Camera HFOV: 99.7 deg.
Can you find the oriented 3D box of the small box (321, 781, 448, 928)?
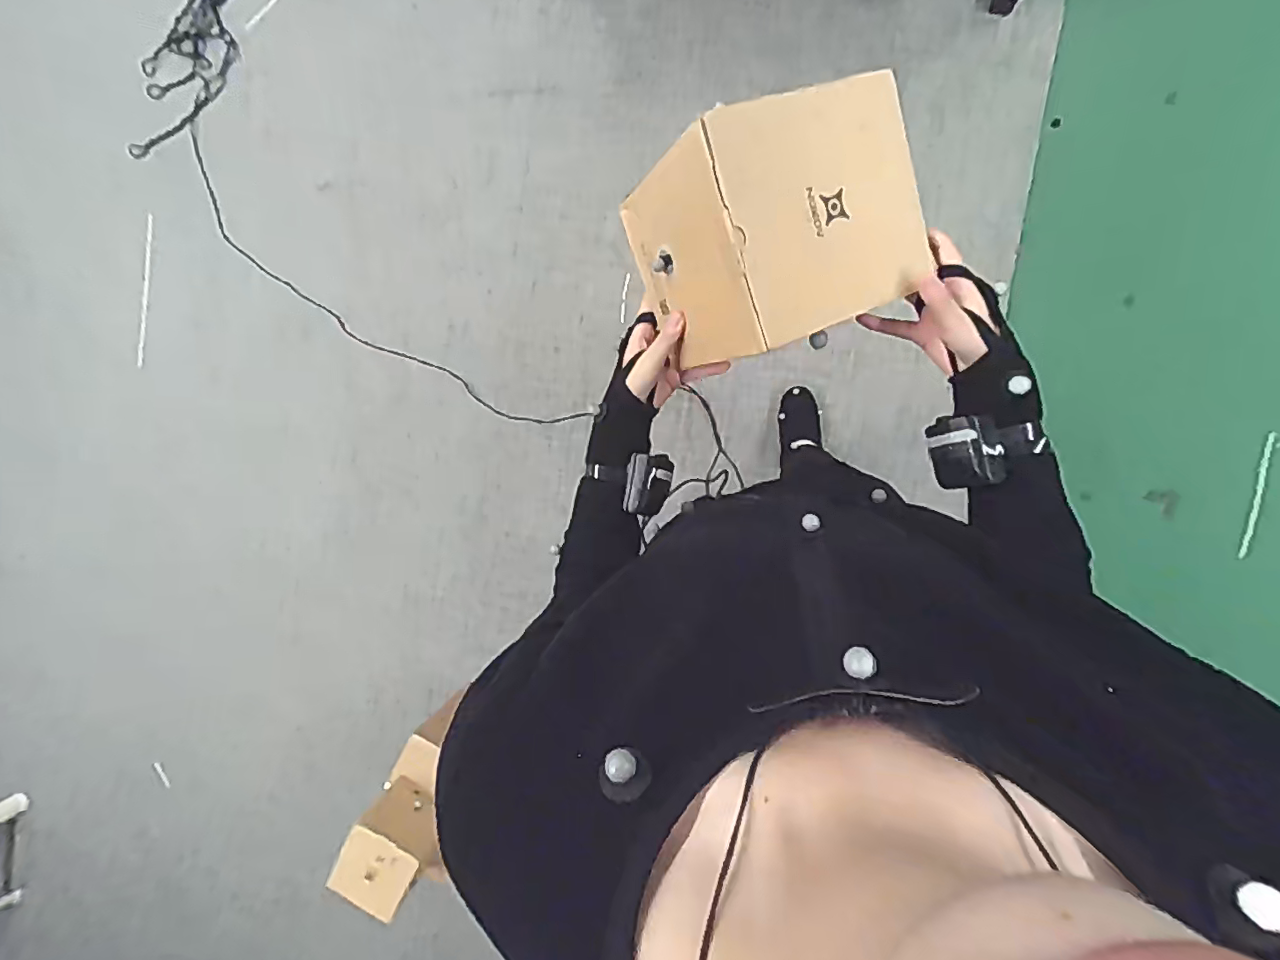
[{"bbox_3d":[-0.567,0.836,1.224,0.168,0.176,0.179,28,97,5],"label":"small box"}]

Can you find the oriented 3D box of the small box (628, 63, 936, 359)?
[{"bbox_3d":[0.114,-0.216,0.475,0.179,0.176,0.168,-24,104,-16],"label":"small box"}]
